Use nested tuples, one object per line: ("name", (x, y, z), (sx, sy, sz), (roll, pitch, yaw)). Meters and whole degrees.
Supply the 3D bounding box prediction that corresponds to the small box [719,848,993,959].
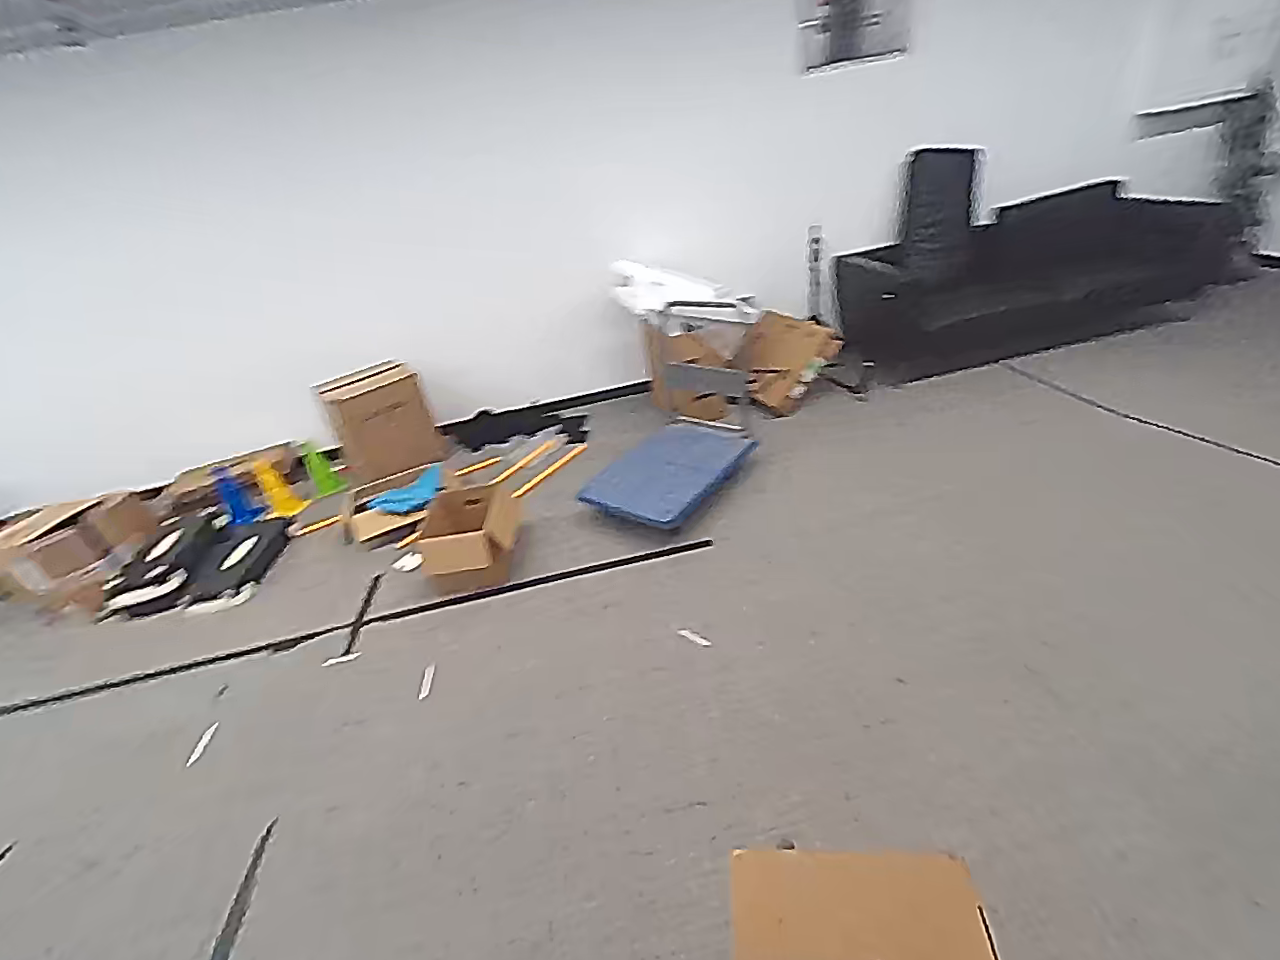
("small box", (0.158, 0.391, 0.398), (0.179, 0.176, 0.168), (-6, 42, 10))
